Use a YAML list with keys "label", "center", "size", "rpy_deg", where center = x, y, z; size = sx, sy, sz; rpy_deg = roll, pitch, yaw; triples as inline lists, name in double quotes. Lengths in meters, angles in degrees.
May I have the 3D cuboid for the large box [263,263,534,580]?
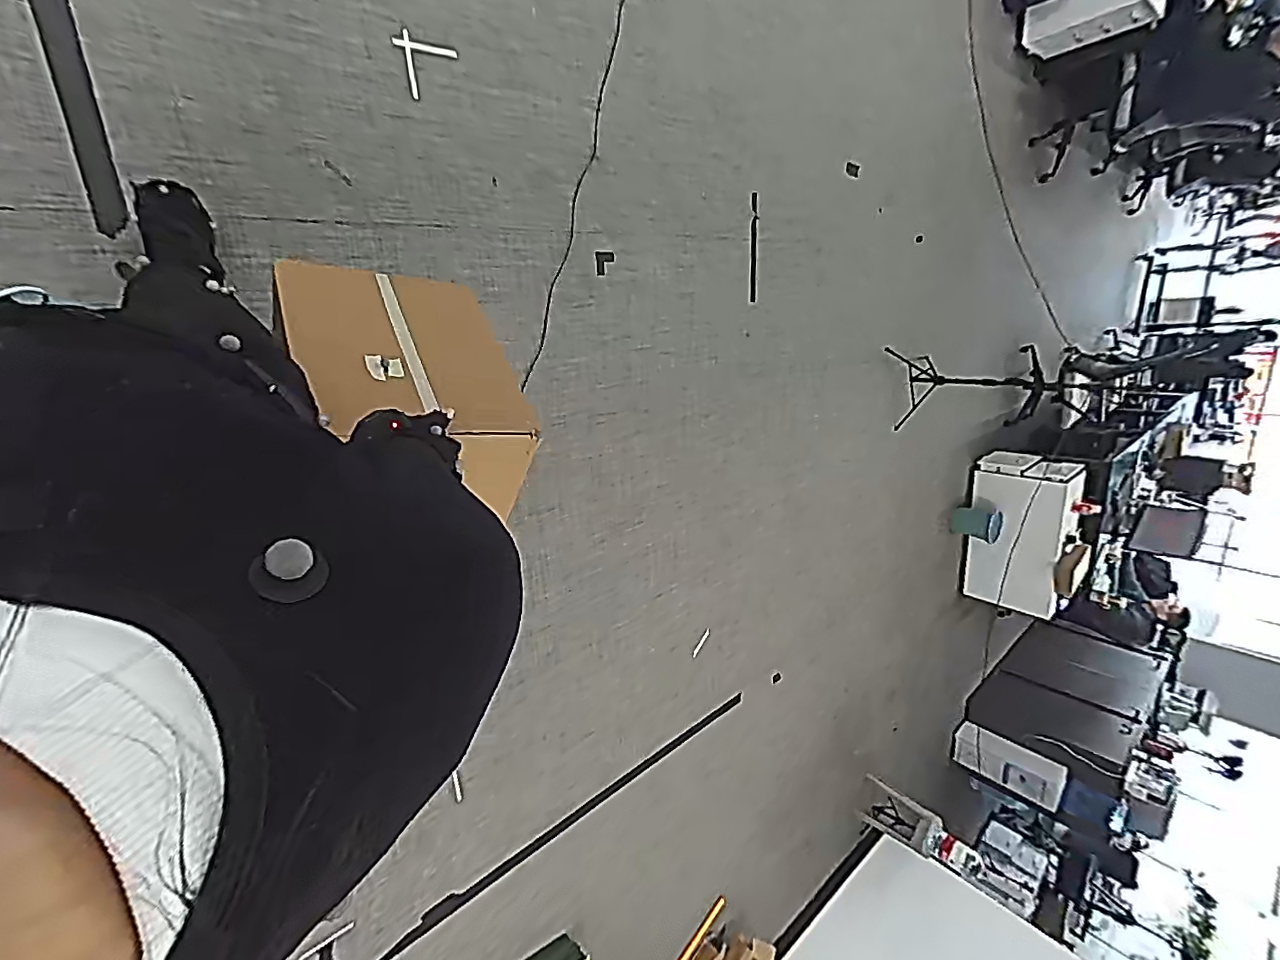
- label: "large box"
  center: [-0.432, -0.099, 0.918]
  size: [0.320, 0.408, 0.320]
  rpy_deg: [-5, 141, -36]
